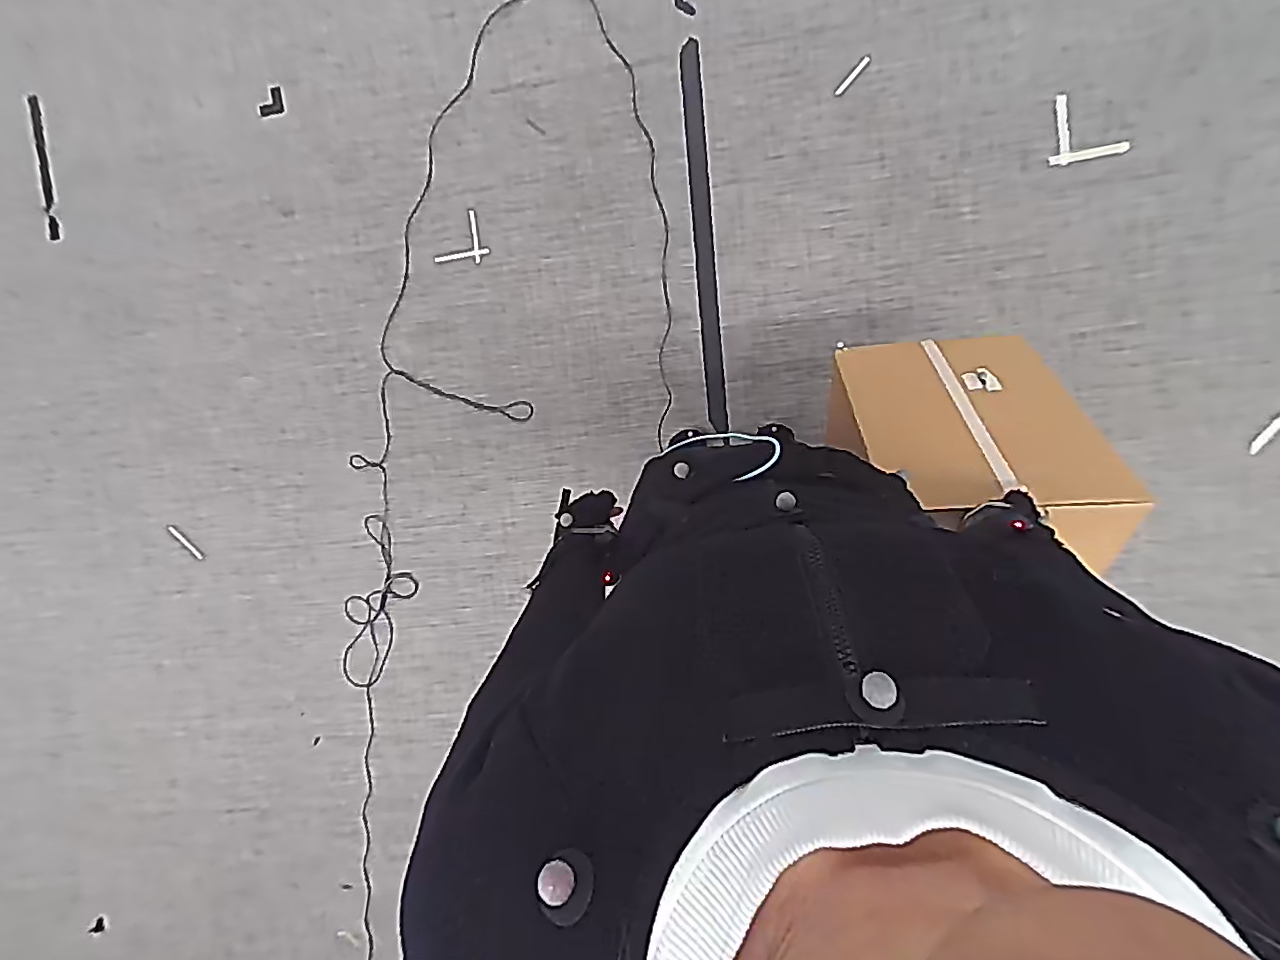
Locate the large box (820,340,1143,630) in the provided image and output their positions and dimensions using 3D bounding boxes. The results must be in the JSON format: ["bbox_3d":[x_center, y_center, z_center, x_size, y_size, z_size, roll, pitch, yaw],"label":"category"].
[{"bbox_3d":[0.516,0.004,0.940,0.320,0.408,0.320,-2,133,7],"label":"large box"}]
